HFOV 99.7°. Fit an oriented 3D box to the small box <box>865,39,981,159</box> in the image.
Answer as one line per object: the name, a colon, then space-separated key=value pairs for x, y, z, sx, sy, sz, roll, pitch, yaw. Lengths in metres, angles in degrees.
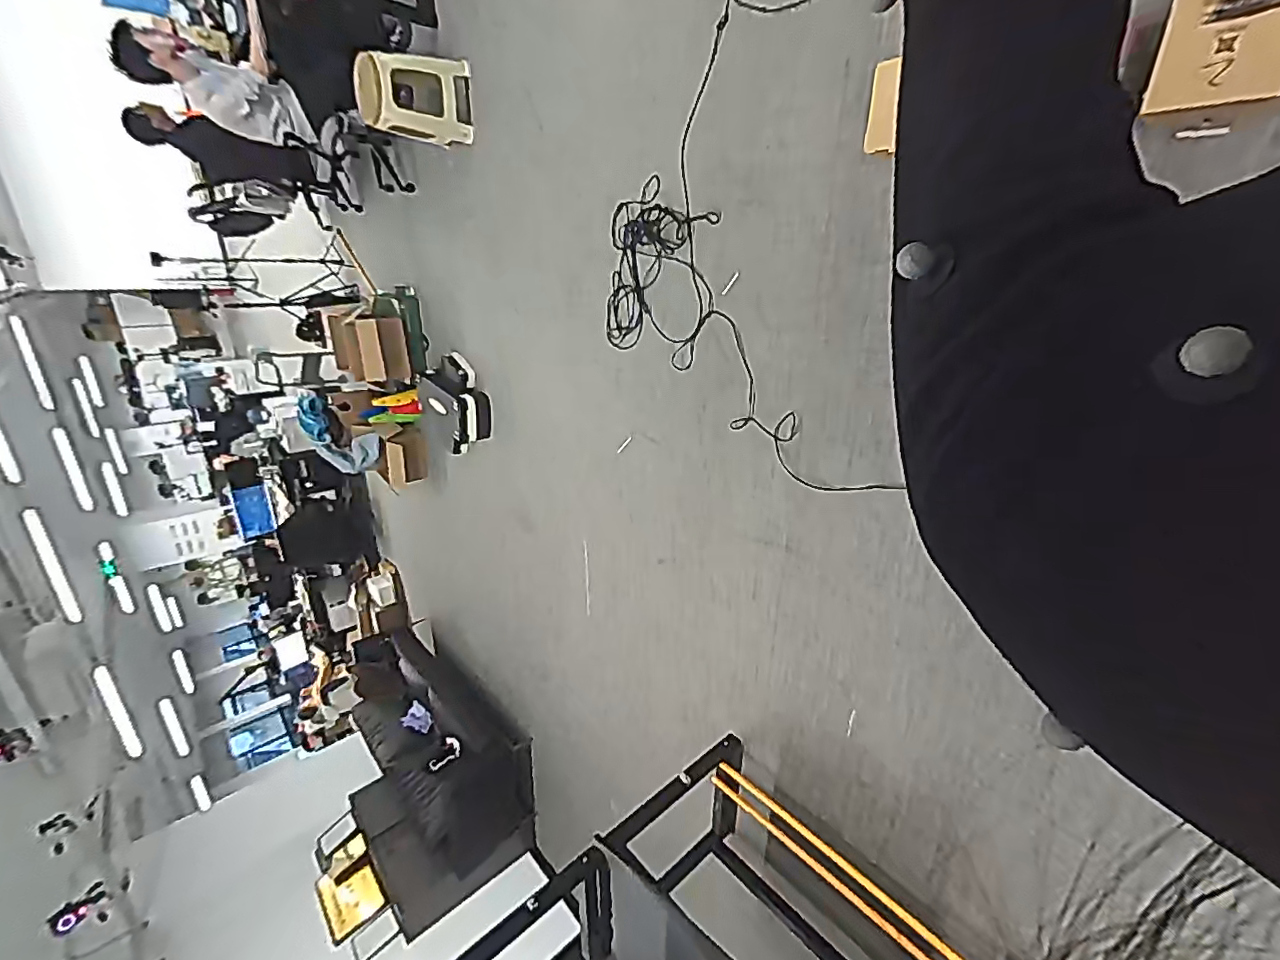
small box: x=0.636 y=-0.841 z=1.212 sx=0.168 sy=0.176 sz=0.179 roll=24 pitch=121 yaw=44
